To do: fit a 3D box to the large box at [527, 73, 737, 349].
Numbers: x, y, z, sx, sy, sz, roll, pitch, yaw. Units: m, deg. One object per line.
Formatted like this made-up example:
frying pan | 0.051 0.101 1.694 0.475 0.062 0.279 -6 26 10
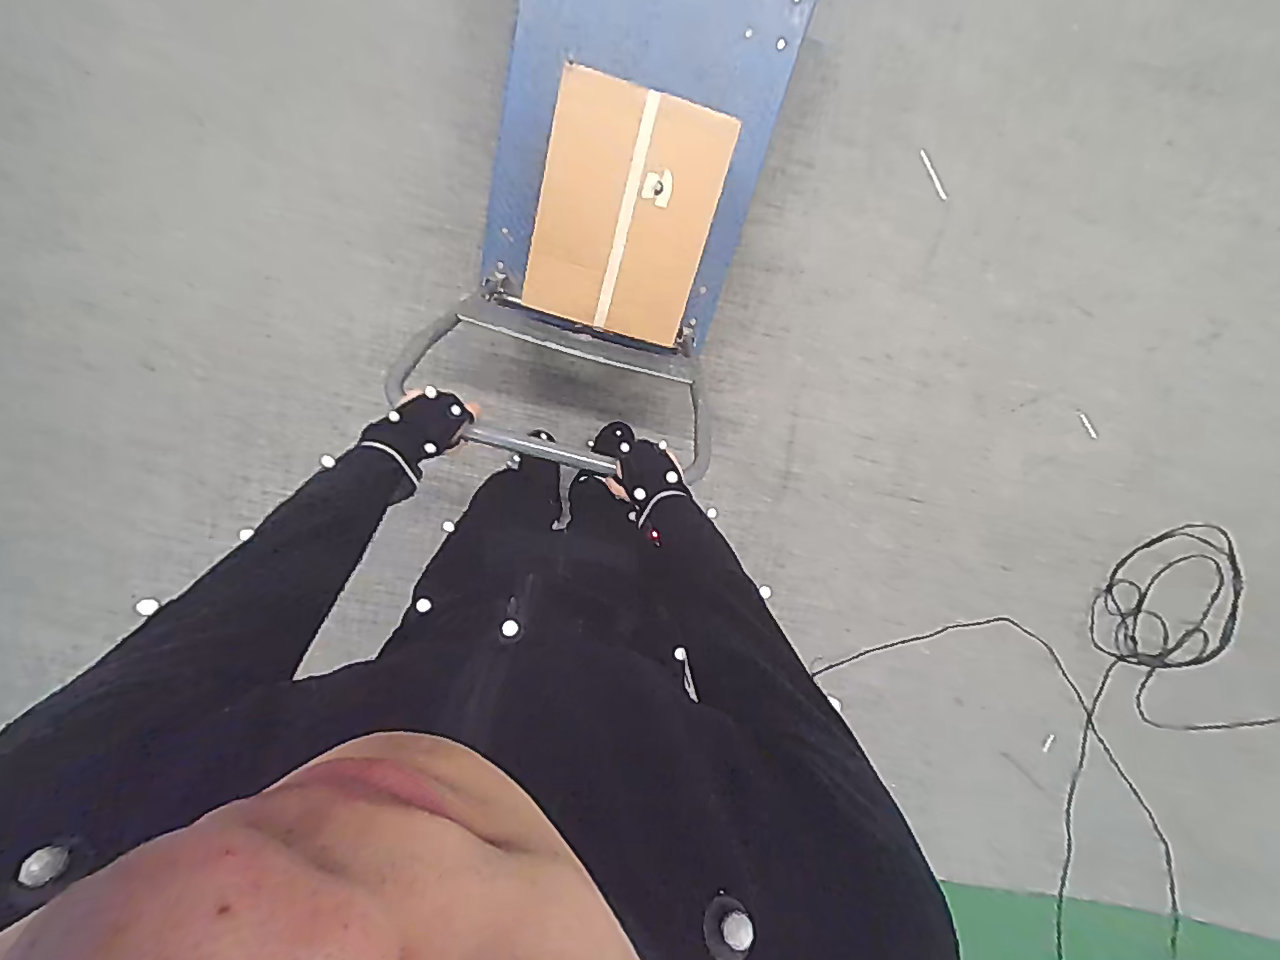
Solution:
large box | -0.026 -0.533 1.132 0.320 0.320 0.408 14 115 -7
